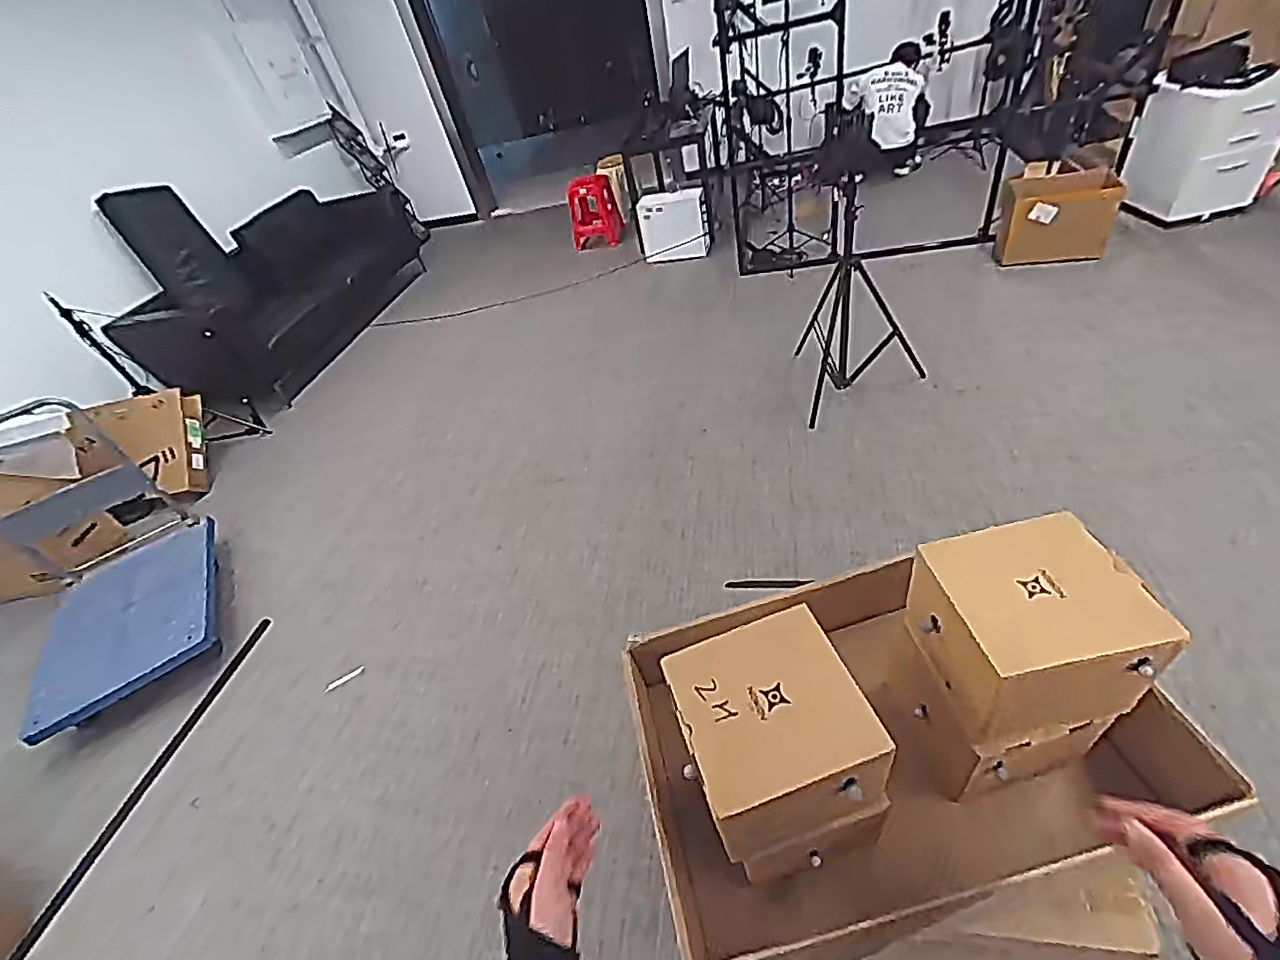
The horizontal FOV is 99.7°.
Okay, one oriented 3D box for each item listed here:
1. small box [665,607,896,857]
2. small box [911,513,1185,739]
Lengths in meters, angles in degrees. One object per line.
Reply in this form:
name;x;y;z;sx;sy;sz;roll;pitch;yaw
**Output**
small box;0.143;0.275;0.589;0.179;0.176;0.168;-20;42;-3
small box;0.427;0.169;0.611;0.179;0.176;0.168;-14;42;4
